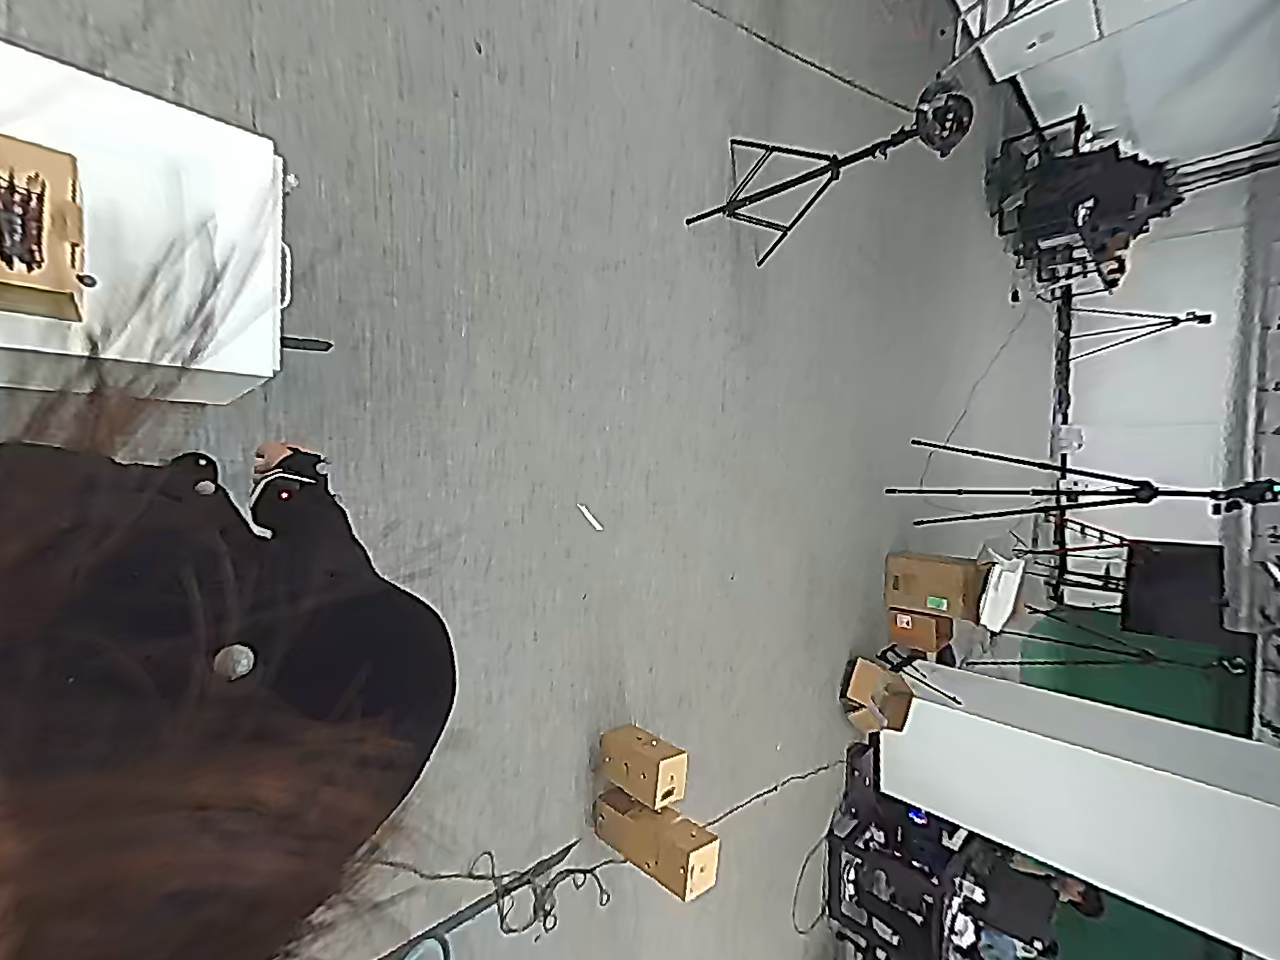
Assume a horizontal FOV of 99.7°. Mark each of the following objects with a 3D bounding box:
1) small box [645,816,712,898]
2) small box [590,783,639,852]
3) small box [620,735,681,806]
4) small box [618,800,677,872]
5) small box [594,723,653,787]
[{"bbox_3d":[0.143,1.379,1.994,0.179,0.176,0.168,12,83,-46],"label":"small box"},{"bbox_3d":[-0.087,1.374,2.226,0.179,0.176,0.168,-1,92,-45],"label":"small box"},{"bbox_3d":[0.038,1.125,2.107,0.168,0.176,0.179,11,83,-45],"label":"small box"},{"bbox_3d":[0.027,1.378,2.111,0.168,0.176,0.179,1,90,-45],"label":"small box"},{"bbox_3d":[-0.068,1.128,2.233,0.179,0.176,0.168,6,87,-45],"label":"small box"}]
